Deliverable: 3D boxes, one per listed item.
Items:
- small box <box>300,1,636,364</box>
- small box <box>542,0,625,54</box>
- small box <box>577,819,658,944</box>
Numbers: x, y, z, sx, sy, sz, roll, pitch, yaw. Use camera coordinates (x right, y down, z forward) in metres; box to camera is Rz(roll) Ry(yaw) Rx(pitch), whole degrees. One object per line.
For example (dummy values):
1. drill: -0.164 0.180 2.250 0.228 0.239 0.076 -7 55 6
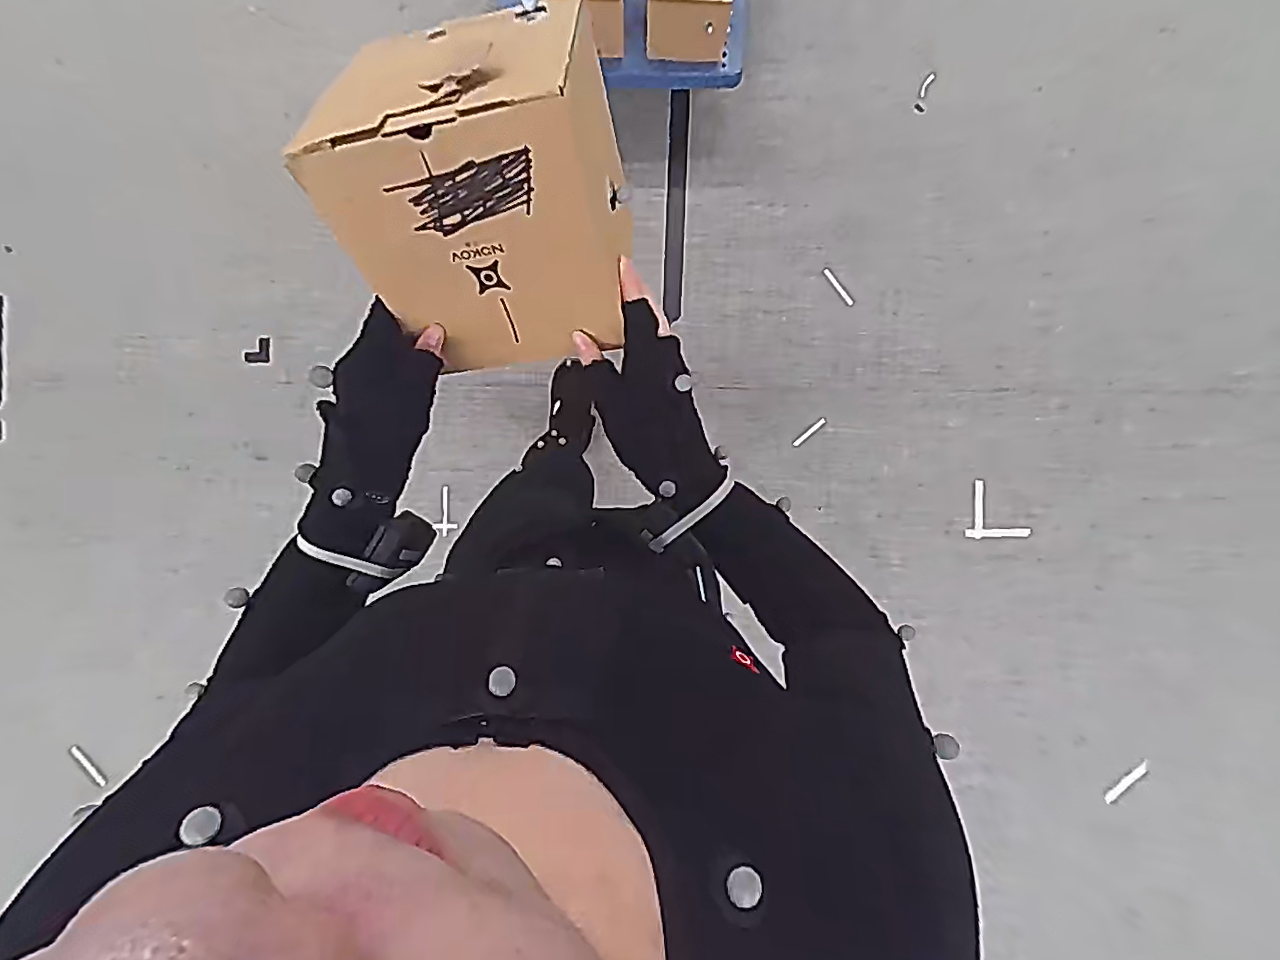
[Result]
1. small box: -0.099 -0.218 0.405 0.168 0.179 0.176 -6 56 9
2. small box: -0.117 -1.062 1.165 0.168 0.176 0.179 0 92 0
3. small box: -0.051 0.935 1.280 0.168 0.176 0.179 -7 92 2
